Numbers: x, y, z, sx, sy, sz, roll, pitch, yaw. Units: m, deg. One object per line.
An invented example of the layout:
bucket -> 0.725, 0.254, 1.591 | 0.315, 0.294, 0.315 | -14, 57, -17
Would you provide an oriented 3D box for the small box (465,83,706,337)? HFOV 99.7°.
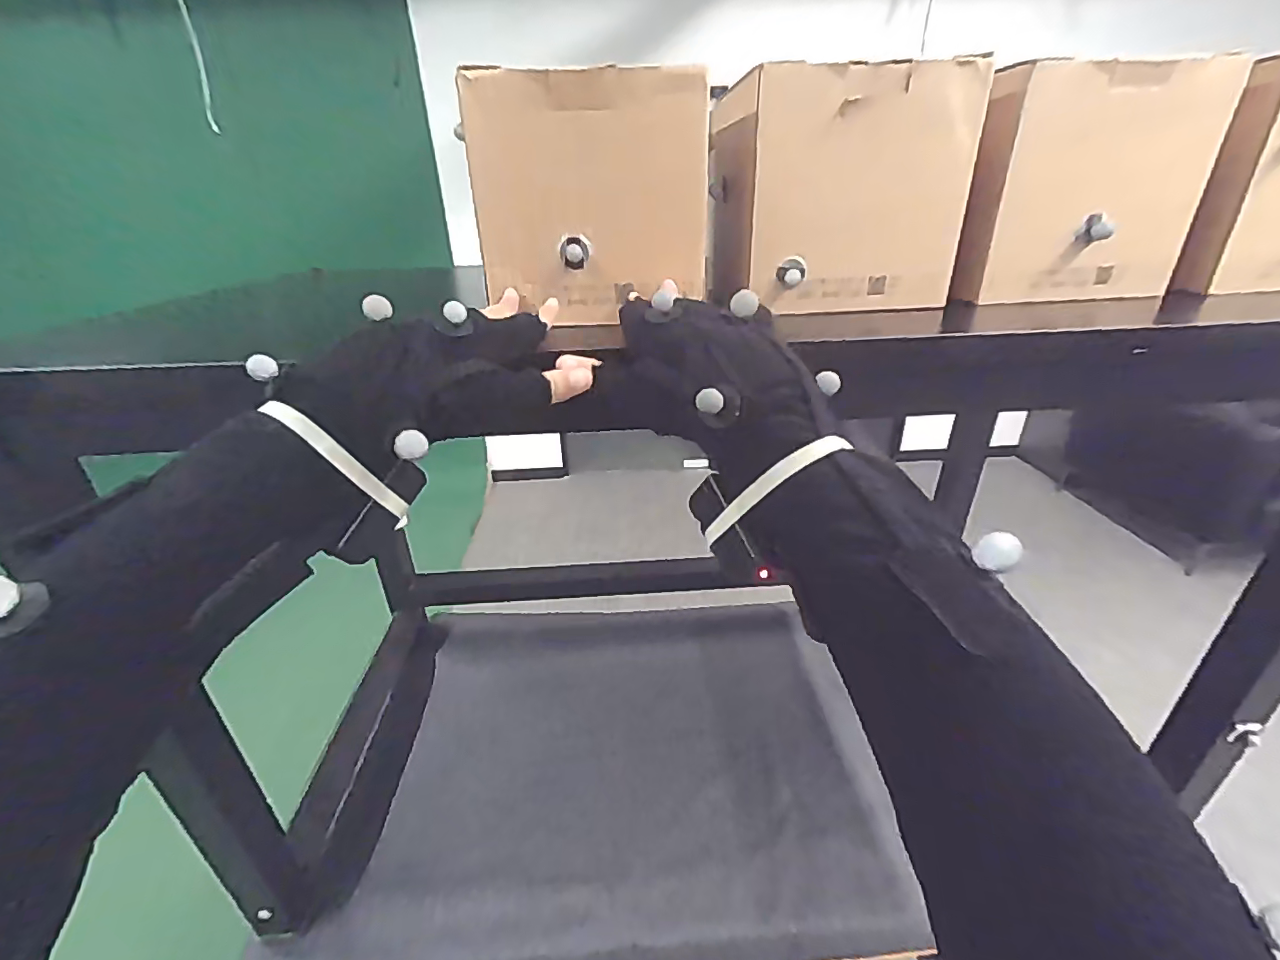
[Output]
small box -> -0.039, -0.227, 0.472 | 0.168, 0.176, 0.179 | -2, 27, -2
